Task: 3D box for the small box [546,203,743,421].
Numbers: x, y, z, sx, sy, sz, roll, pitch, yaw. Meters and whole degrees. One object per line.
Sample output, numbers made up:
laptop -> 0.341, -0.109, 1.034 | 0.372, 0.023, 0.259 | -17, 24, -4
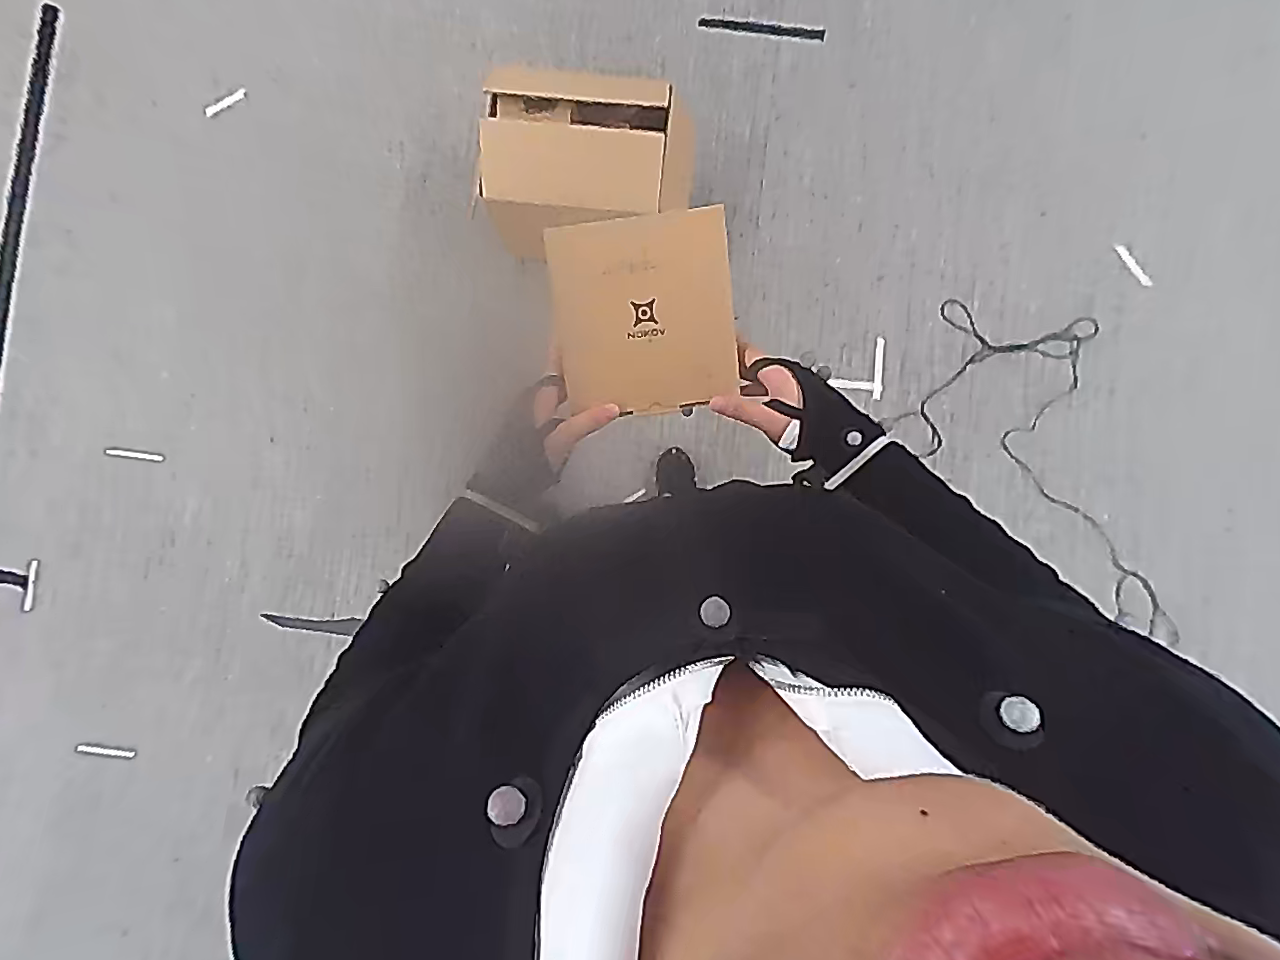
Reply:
small box -> 0.006, -0.165, 0.569 | 0.168, 0.176, 0.179 | -8, 101, 0
